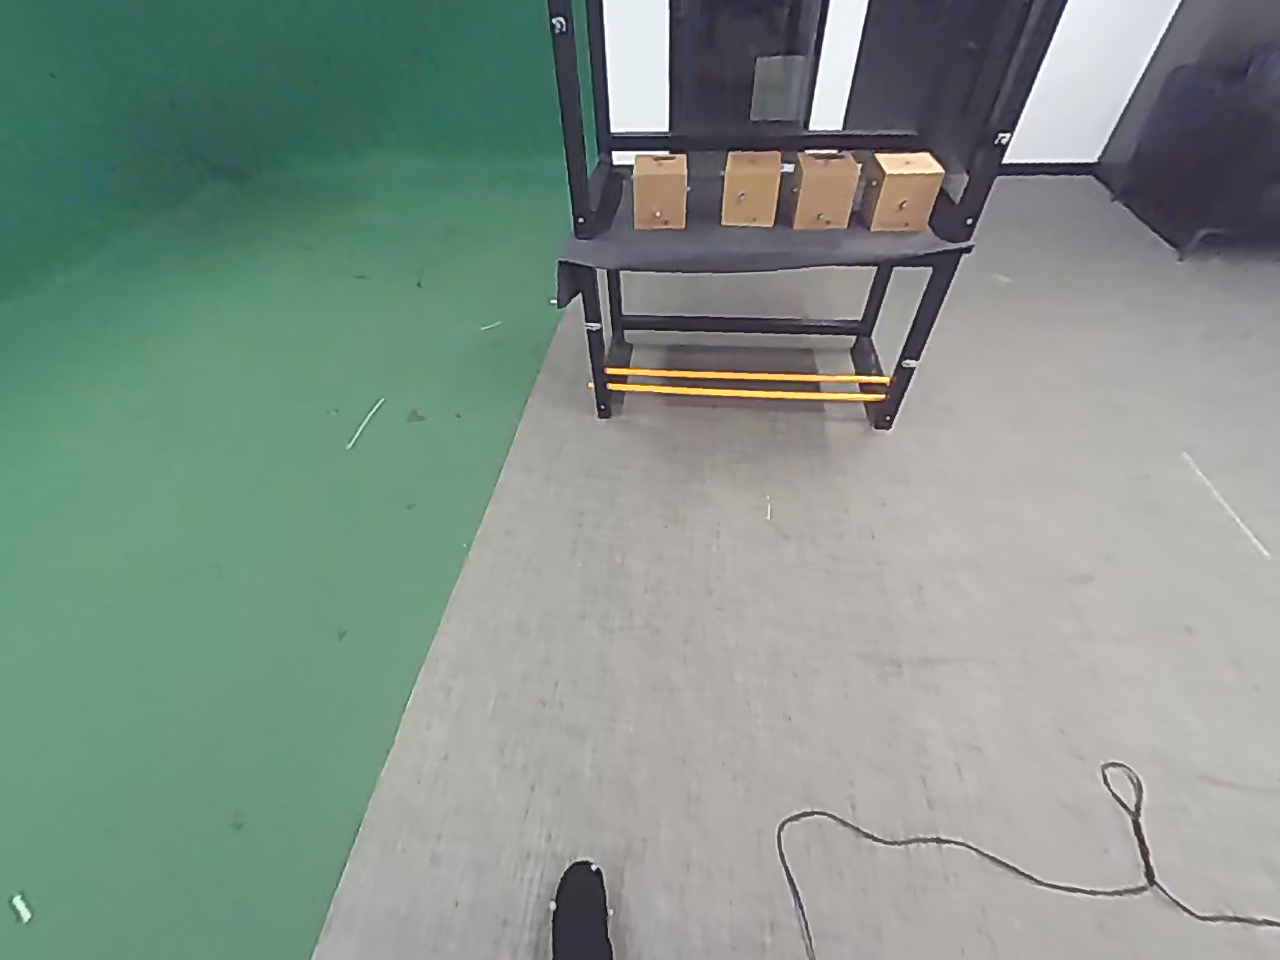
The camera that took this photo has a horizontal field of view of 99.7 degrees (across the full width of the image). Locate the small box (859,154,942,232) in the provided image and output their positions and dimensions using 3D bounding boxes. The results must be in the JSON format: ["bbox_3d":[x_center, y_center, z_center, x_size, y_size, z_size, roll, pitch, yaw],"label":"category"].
[{"bbox_3d":[0.794,-0.881,1.666,0.168,0.176,0.179,2,47,4],"label":"small box"}]

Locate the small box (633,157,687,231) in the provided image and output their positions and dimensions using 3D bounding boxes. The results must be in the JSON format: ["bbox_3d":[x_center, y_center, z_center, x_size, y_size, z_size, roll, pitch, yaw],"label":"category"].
[{"bbox_3d":[0.064,-0.920,1.738,0.168,0.176,0.179,0,48,3],"label":"small box"}]

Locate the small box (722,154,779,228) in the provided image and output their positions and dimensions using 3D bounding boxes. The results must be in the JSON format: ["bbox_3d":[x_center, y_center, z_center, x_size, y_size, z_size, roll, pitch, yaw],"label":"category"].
[{"bbox_3d":[0.353,-0.923,1.731,0.168,0.176,0.179,5,48,8],"label":"small box"}]
